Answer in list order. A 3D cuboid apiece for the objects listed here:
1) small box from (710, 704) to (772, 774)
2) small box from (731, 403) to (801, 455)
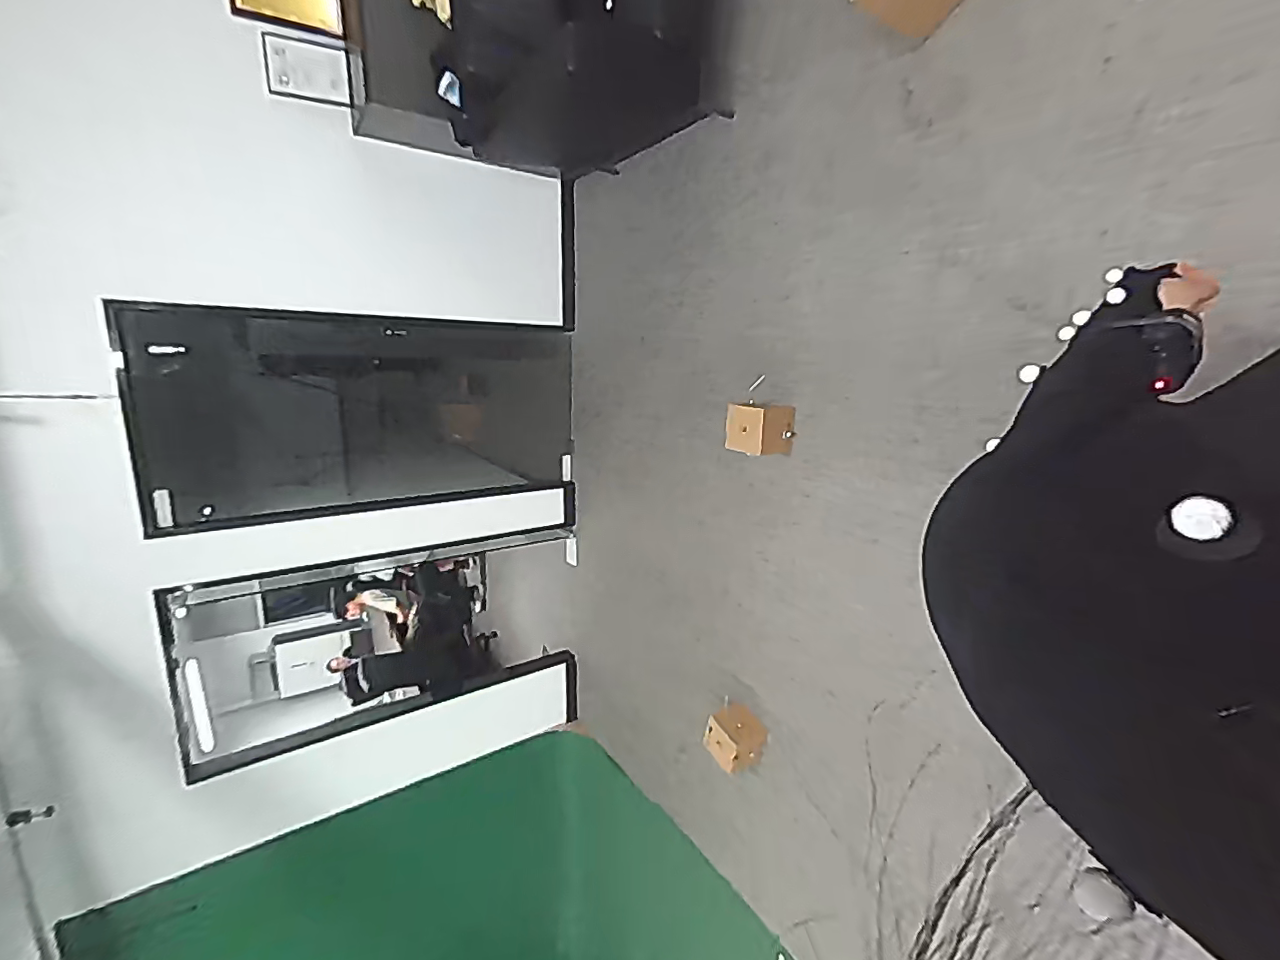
[{"bbox_3d":[0.419,1.063,2.233,0.179,0.176,0.168,36,125,48],"label":"small box"},{"bbox_3d":[0.454,-0.190,1.954,0.179,0.176,0.168,18,113,53],"label":"small box"}]
